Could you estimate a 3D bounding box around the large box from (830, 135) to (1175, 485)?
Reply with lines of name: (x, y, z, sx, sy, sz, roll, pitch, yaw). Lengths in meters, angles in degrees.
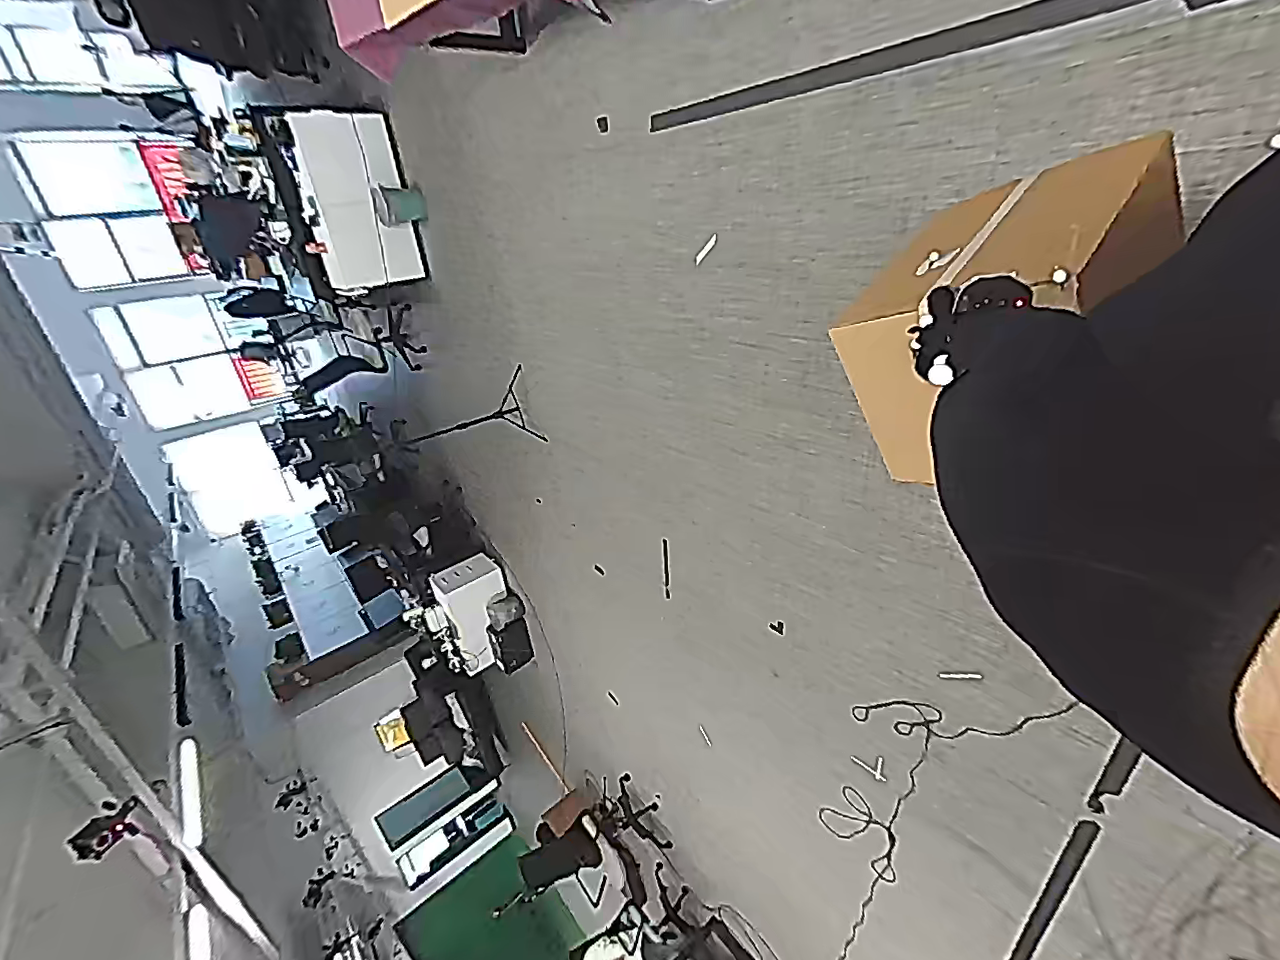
large box: (0.577, -0.242, 0.848, 0.320, 0.408, 0.320, 4, 135, 56)
